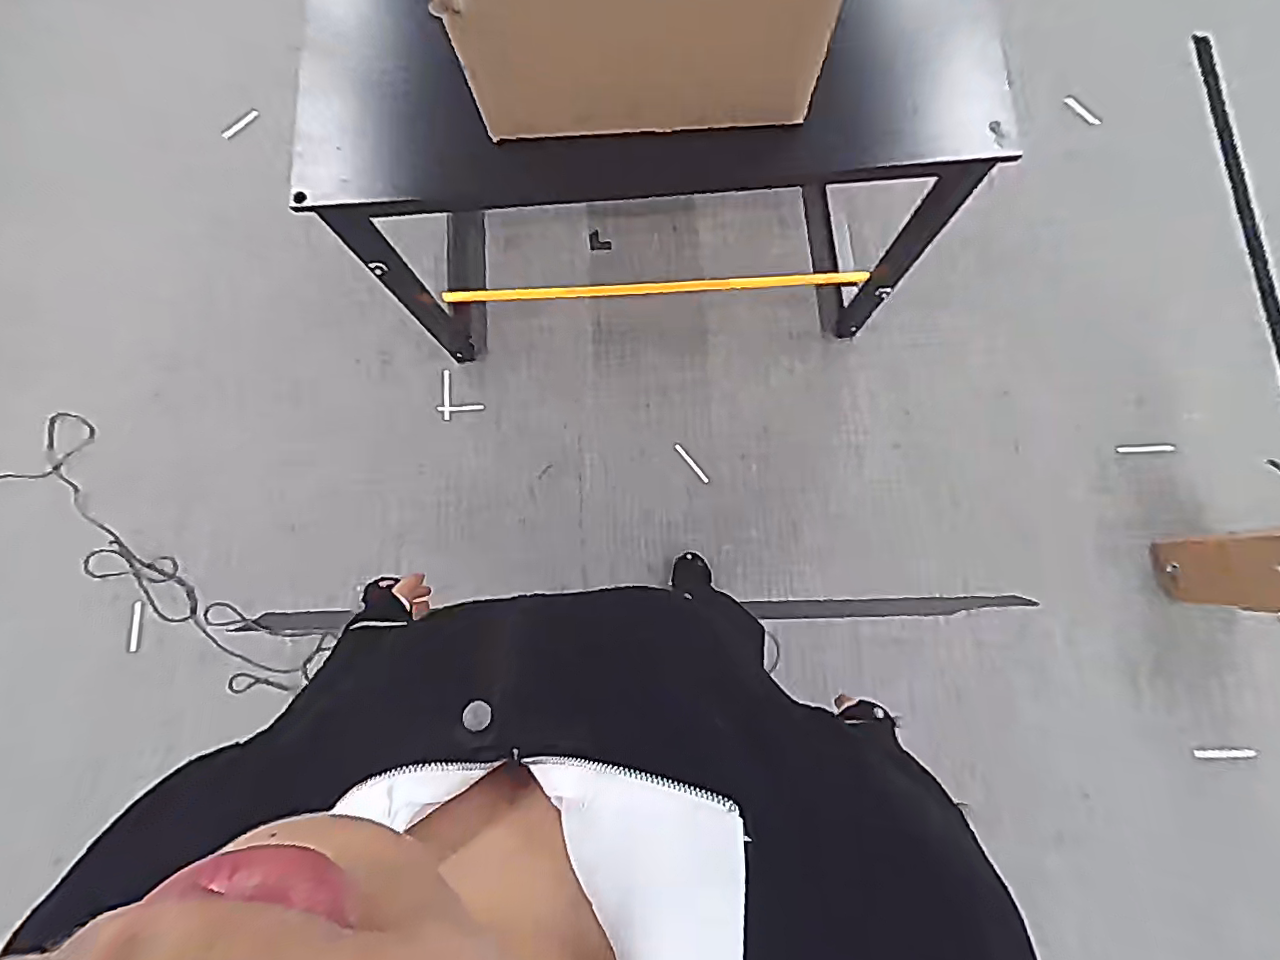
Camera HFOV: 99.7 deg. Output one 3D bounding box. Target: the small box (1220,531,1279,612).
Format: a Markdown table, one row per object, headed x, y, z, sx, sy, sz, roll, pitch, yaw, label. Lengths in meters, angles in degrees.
| x | y | z | sx | sy | sz | roll | pitch | yaw | label |
| --- | --- | --- | --- | --- | --- | --- | --- | --- | --- |
| 1.482 | 0.202 | 1.216 | 0.168 | 0.176 | 0.179 | -7 | 80 | 1 | small box |

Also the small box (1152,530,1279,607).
| x | y | z | sx | sy | sz | roll | pitch | yaw | label |
| --- | --- | --- | --- | --- | --- | --- | --- | --- | --- |
| 1.485 | 0.224 | 1.379 | 0.179 | 0.176 | 0.168 | -10 | 80 | 1 | small box |
